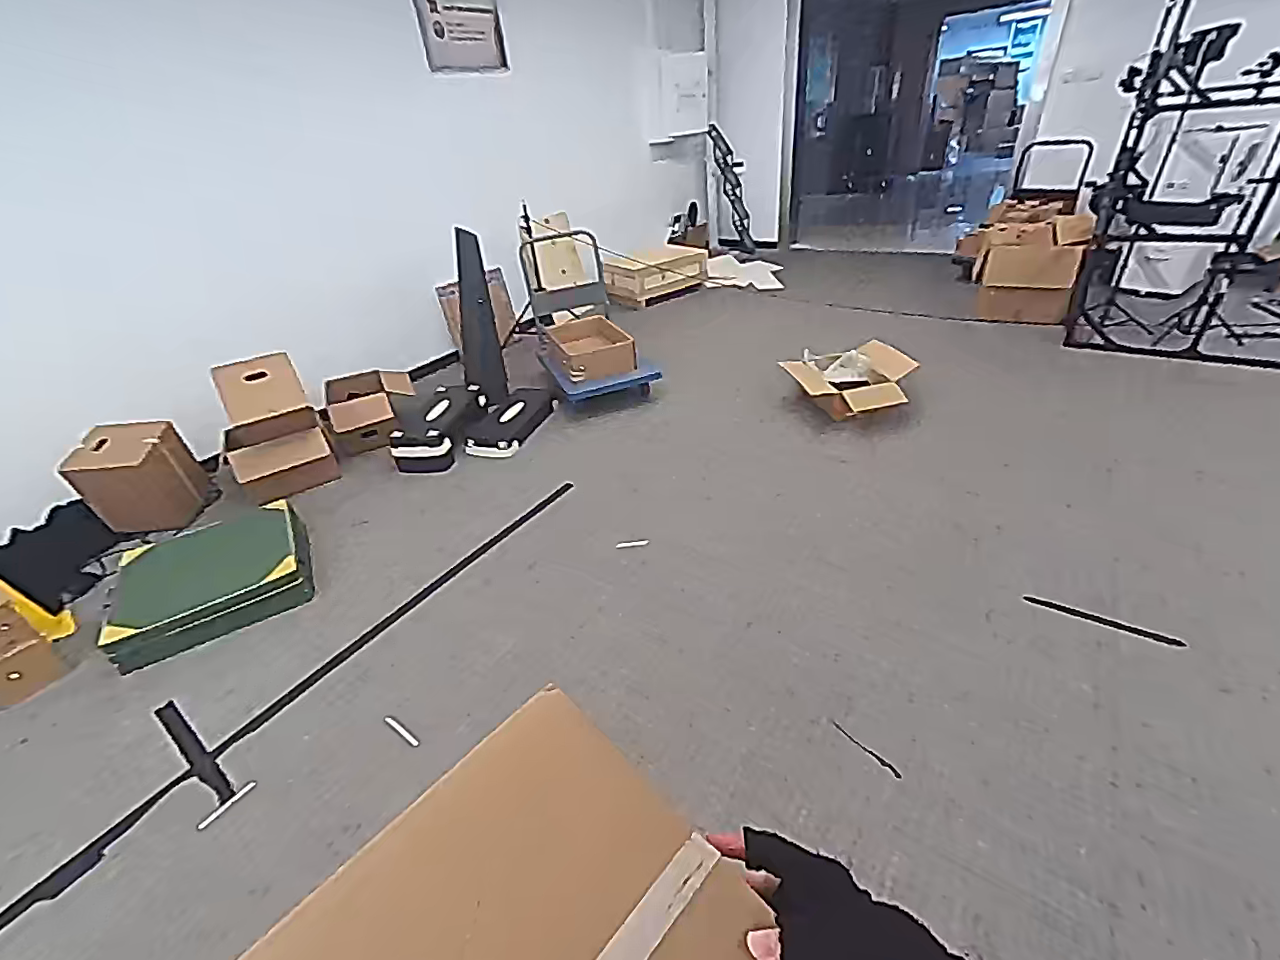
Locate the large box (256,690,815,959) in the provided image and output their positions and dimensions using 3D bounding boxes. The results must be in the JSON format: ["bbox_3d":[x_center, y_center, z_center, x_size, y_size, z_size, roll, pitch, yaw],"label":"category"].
[{"bbox_3d":[-0.100,0.446,0.363,0.320,0.320,0.408,36,54,26],"label":"large box"}]
